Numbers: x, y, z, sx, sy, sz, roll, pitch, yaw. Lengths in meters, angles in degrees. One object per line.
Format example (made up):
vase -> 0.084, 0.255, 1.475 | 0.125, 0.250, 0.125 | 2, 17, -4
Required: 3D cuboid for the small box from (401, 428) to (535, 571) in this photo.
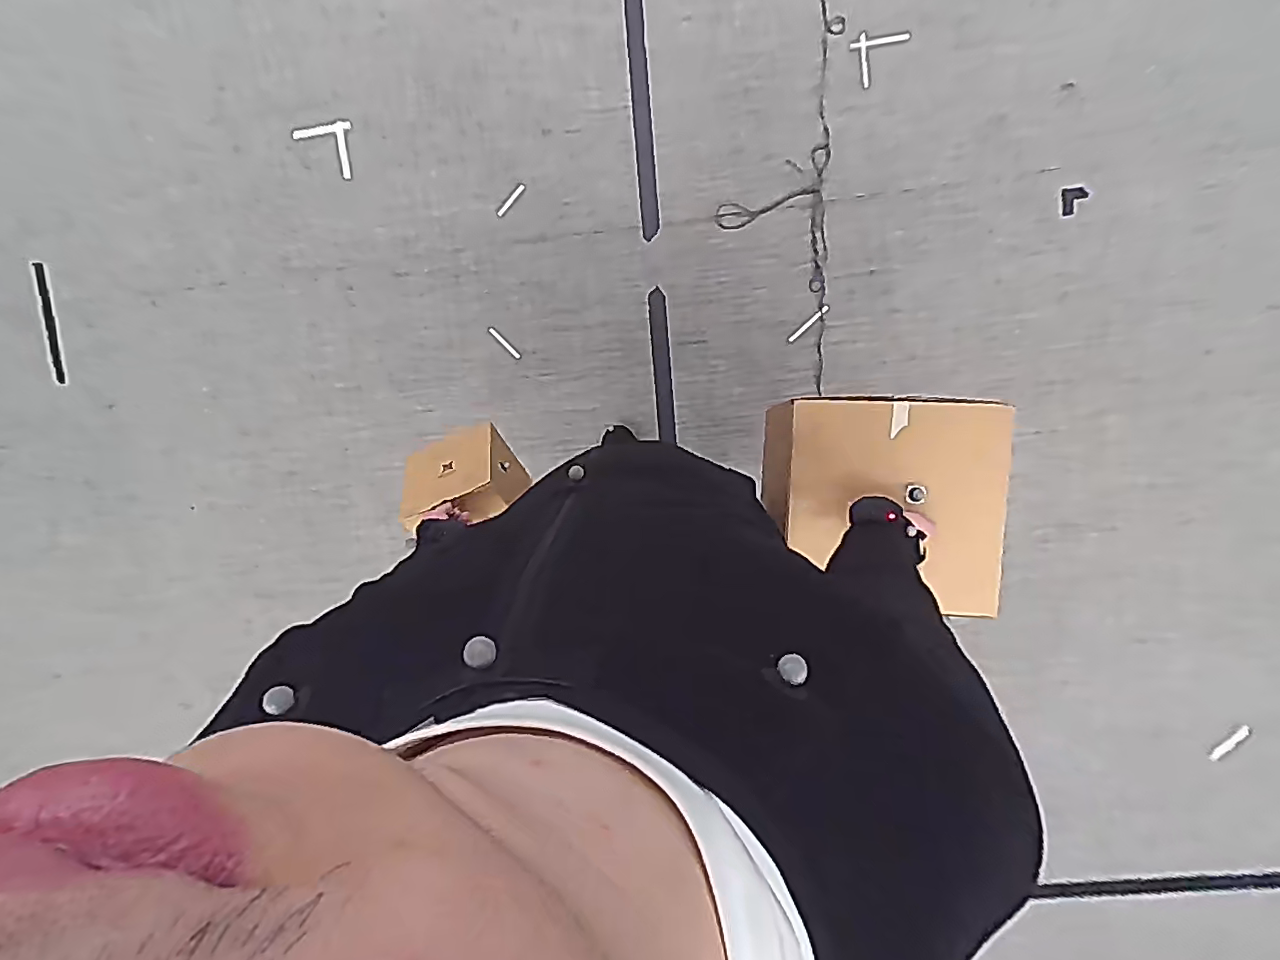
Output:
small box -> -0.301, 0.043, 0.982 | 0.168, 0.179, 0.176 | -22, 131, 4
